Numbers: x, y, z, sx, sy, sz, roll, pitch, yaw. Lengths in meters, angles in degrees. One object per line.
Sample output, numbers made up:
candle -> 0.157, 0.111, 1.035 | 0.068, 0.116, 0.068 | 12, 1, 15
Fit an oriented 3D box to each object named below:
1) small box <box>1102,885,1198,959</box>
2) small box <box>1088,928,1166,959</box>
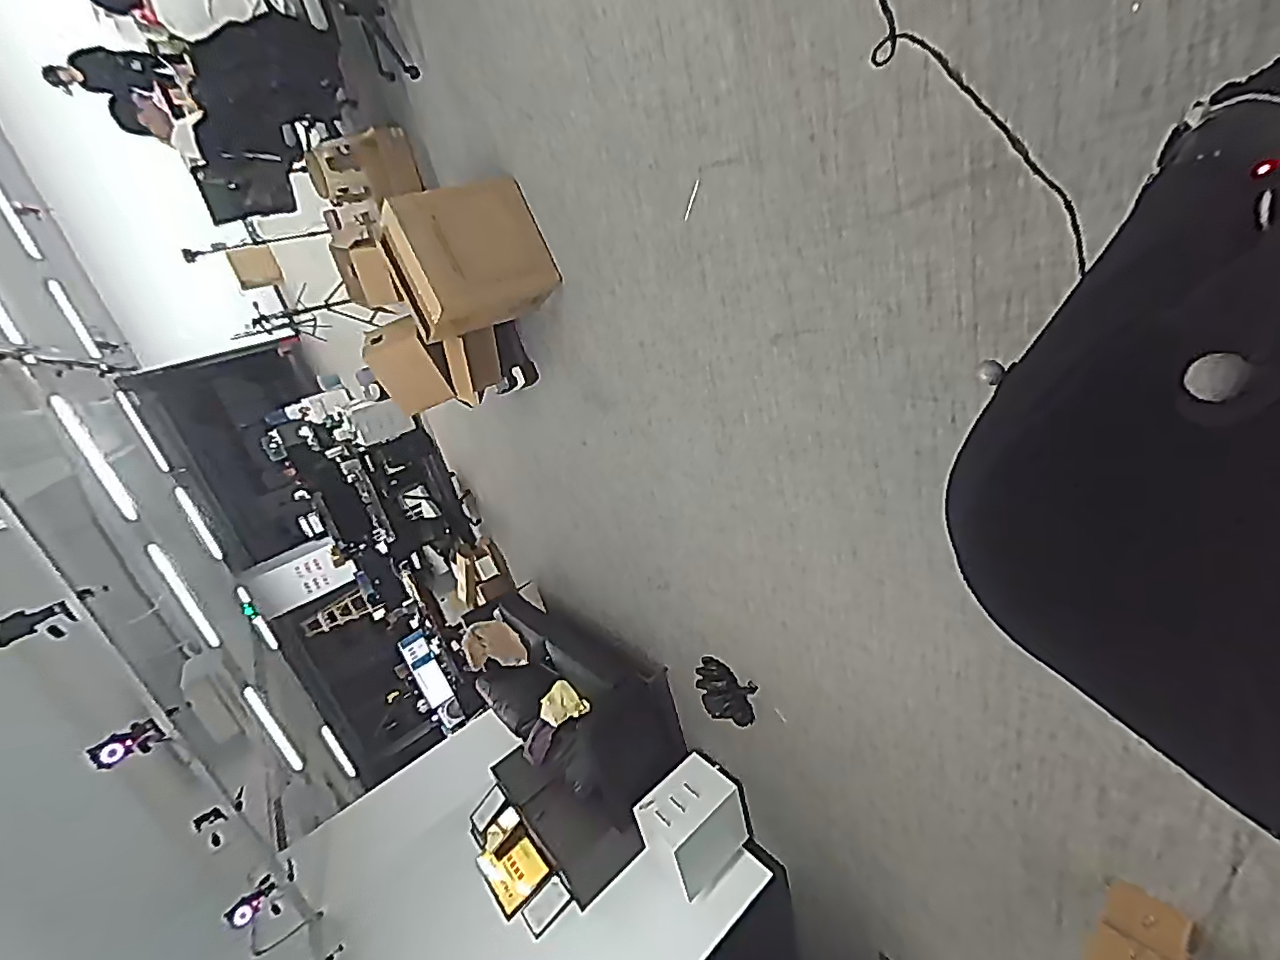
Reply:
small box -> 1.486, 1.341, 1.581 | 0.179, 0.176, 0.168 | 12, 124, 50
small box -> 1.360, 1.398, 1.494 | 0.179, 0.176, 0.168 | 16, 127, 51
